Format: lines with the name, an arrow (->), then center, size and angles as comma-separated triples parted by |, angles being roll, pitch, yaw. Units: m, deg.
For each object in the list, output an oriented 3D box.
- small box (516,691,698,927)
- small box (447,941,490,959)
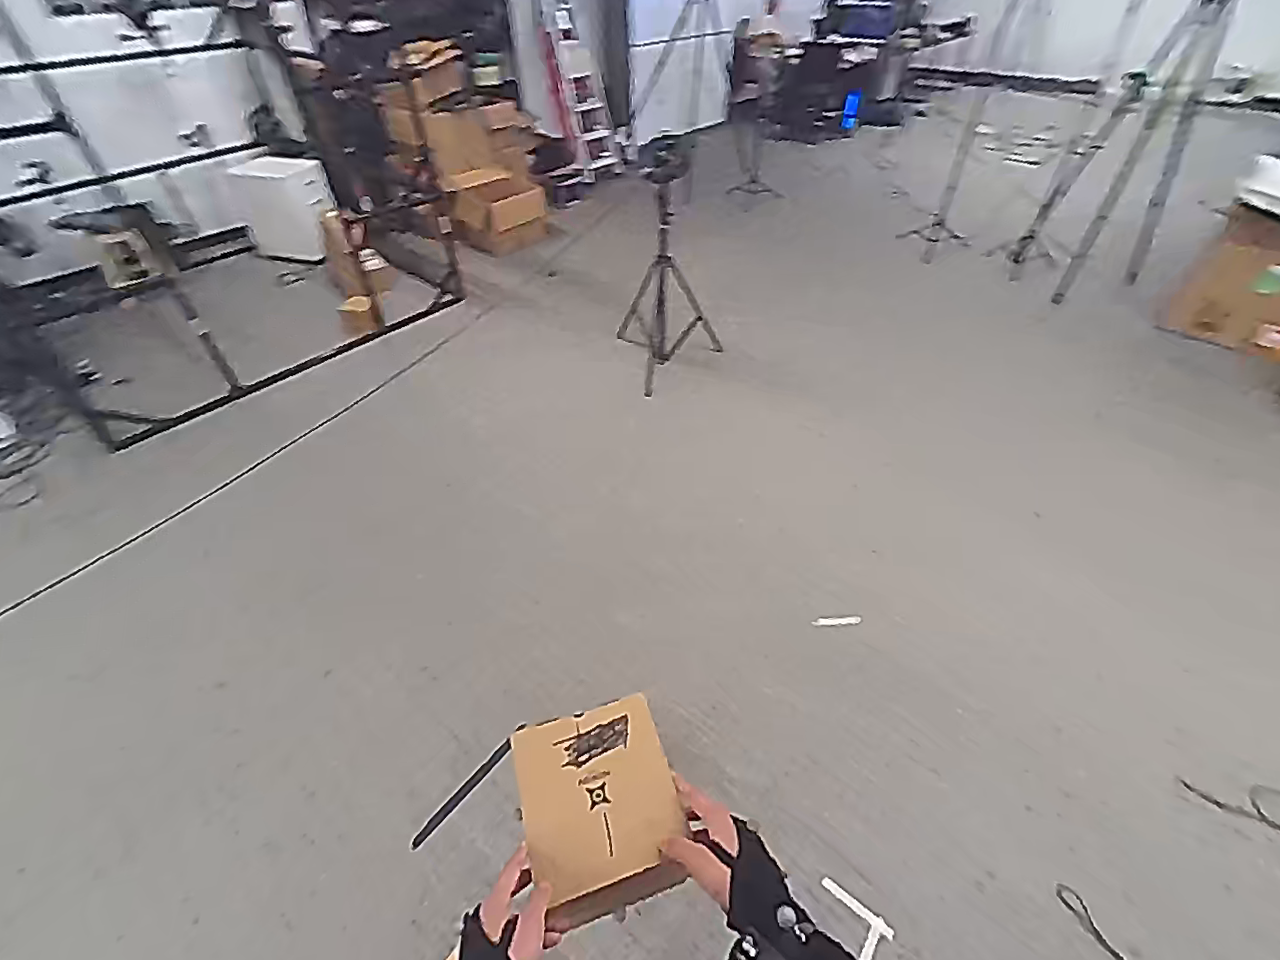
small box -> -0.044, 0.389, 0.643 | 0.168, 0.176, 0.179 | -13, 47, -13
small box -> -0.364, 1.108, 1.113 | 0.168, 0.176, 0.179 | 29, 53, 27
